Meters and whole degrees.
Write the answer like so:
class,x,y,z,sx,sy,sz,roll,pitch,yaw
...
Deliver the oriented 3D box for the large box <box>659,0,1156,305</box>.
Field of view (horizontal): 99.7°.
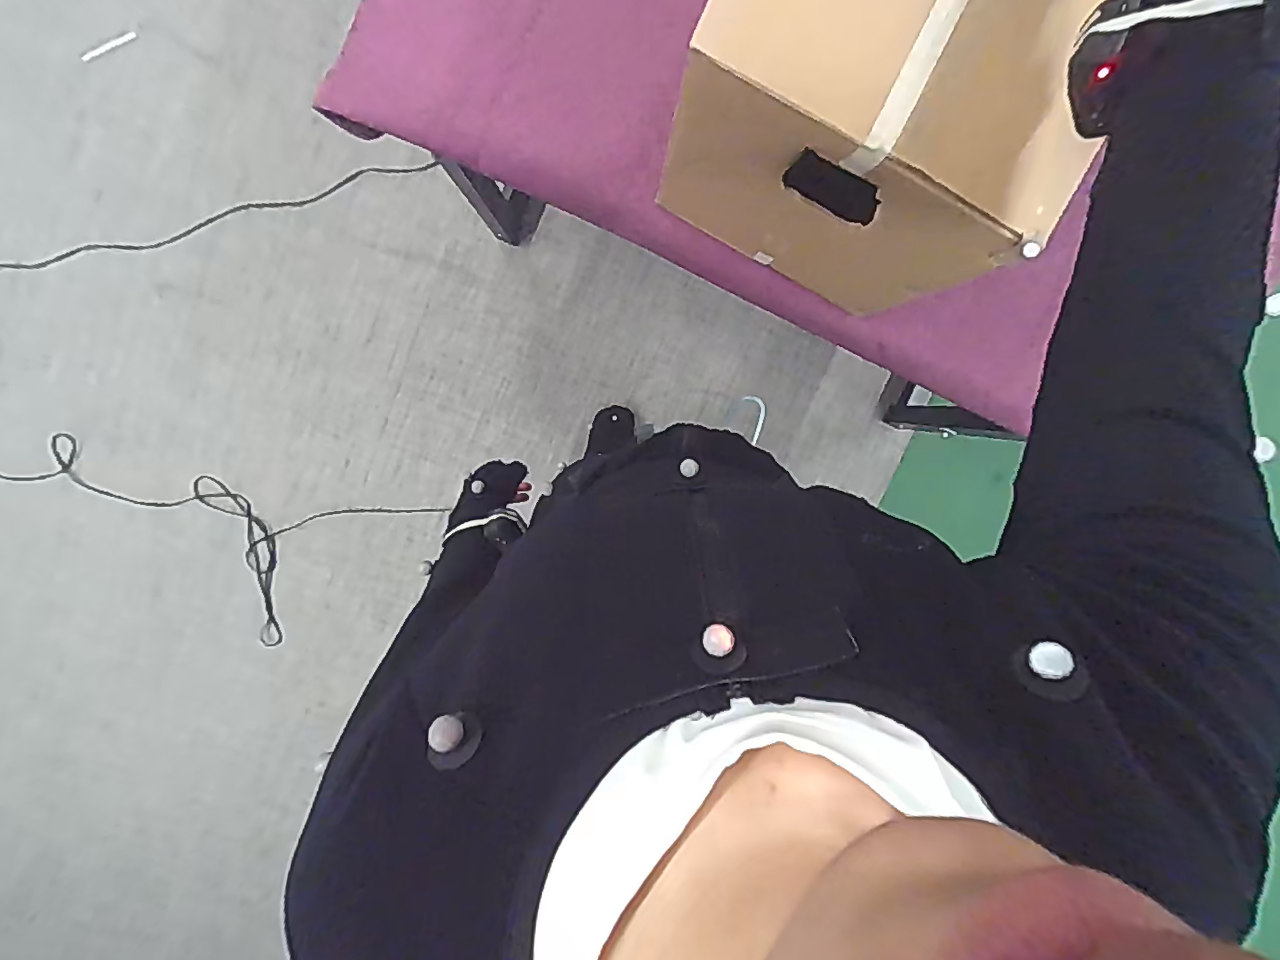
class,x,y,z,sx,sy,sz,roll,pitch,yaw
large box,0.251,-0.452,0.549,0.320,0.320,0.408,26,97,-6
